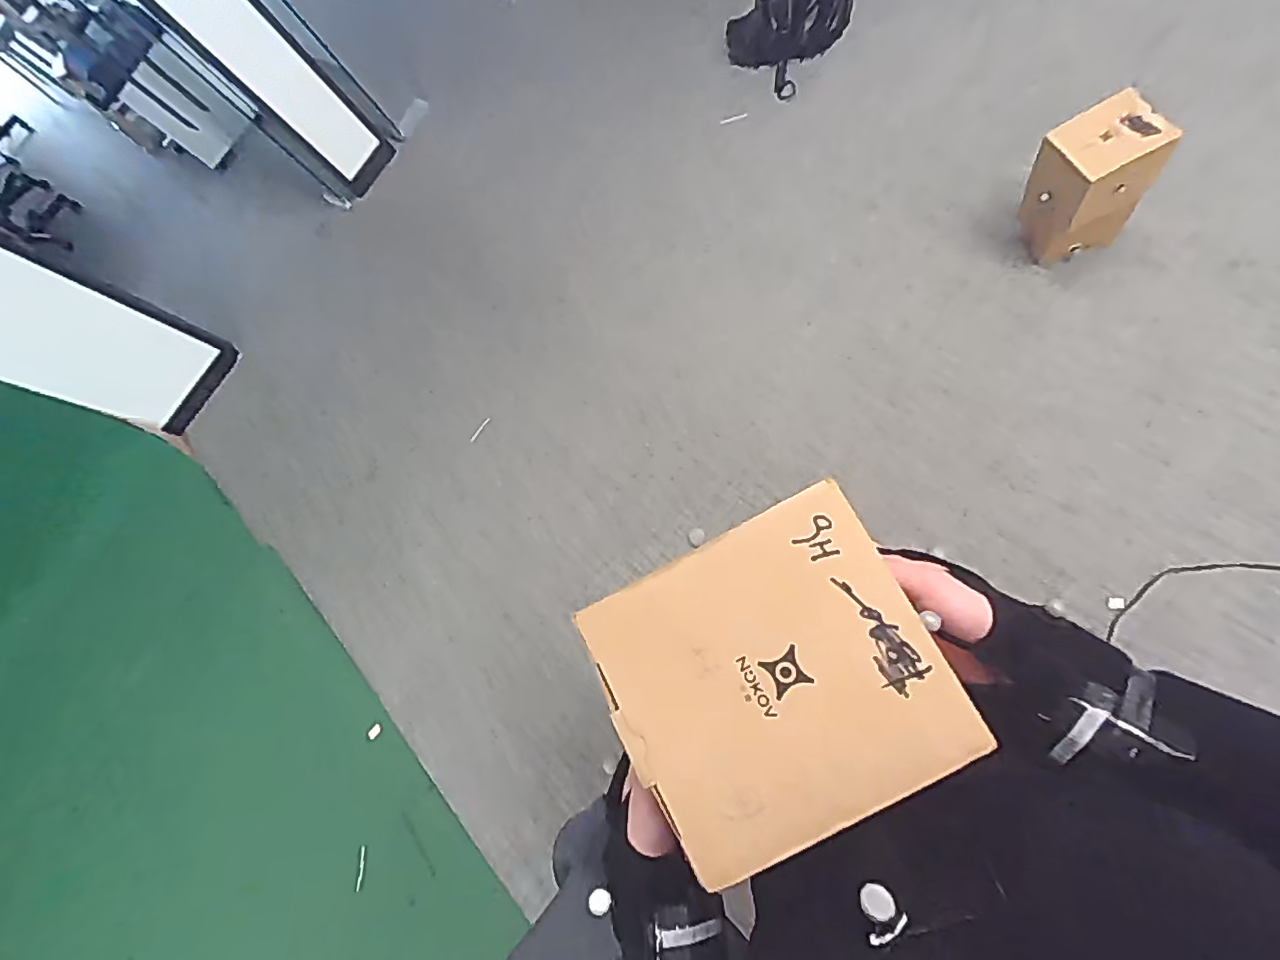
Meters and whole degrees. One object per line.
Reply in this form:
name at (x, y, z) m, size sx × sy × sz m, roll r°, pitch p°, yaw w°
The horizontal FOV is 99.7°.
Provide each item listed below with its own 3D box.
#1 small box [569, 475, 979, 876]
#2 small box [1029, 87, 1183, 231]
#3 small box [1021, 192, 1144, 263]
small box at (0.080, 0.118, 0.380) m, size 0.179 × 0.176 × 0.168 m, roll -28°, pitch 79°, yaw 4°
small box at (1.012, -0.700, 1.196) m, size 0.179 × 0.176 × 0.168 m, roll -26°, pitch 66°, yaw 15°
small box at (1.085, -0.682, 1.345) m, size 0.168 × 0.176 × 0.179 m, roll -14°, pitch 71°, yaw 19°
